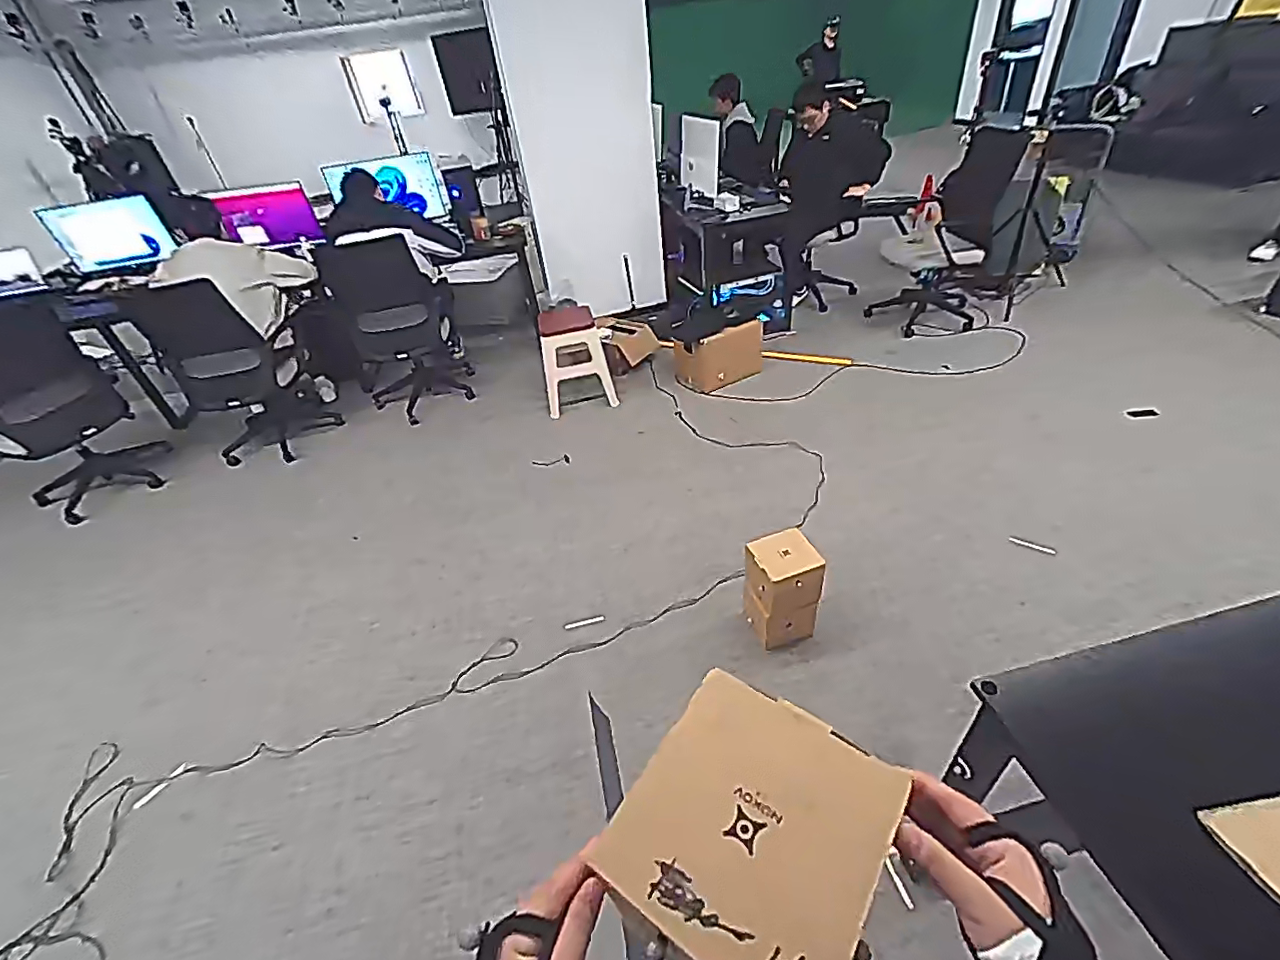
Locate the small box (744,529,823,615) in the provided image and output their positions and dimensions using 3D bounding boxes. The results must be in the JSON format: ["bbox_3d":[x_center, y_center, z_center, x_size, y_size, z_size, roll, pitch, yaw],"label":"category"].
[{"bbox_3d":[0.432,0.284,1.650,0.179,0.176,0.168,-16,39,-12],"label":"small box"}]

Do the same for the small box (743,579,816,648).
[{"bbox_3d":[0.444,0.412,1.749,0.179,0.176,0.168,-16,38,-9],"label":"small box"}]

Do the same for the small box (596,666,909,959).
[{"bbox_3d":[0.090,0.296,0.434,0.168,0.176,0.179,21,48,32],"label":"small box"}]
